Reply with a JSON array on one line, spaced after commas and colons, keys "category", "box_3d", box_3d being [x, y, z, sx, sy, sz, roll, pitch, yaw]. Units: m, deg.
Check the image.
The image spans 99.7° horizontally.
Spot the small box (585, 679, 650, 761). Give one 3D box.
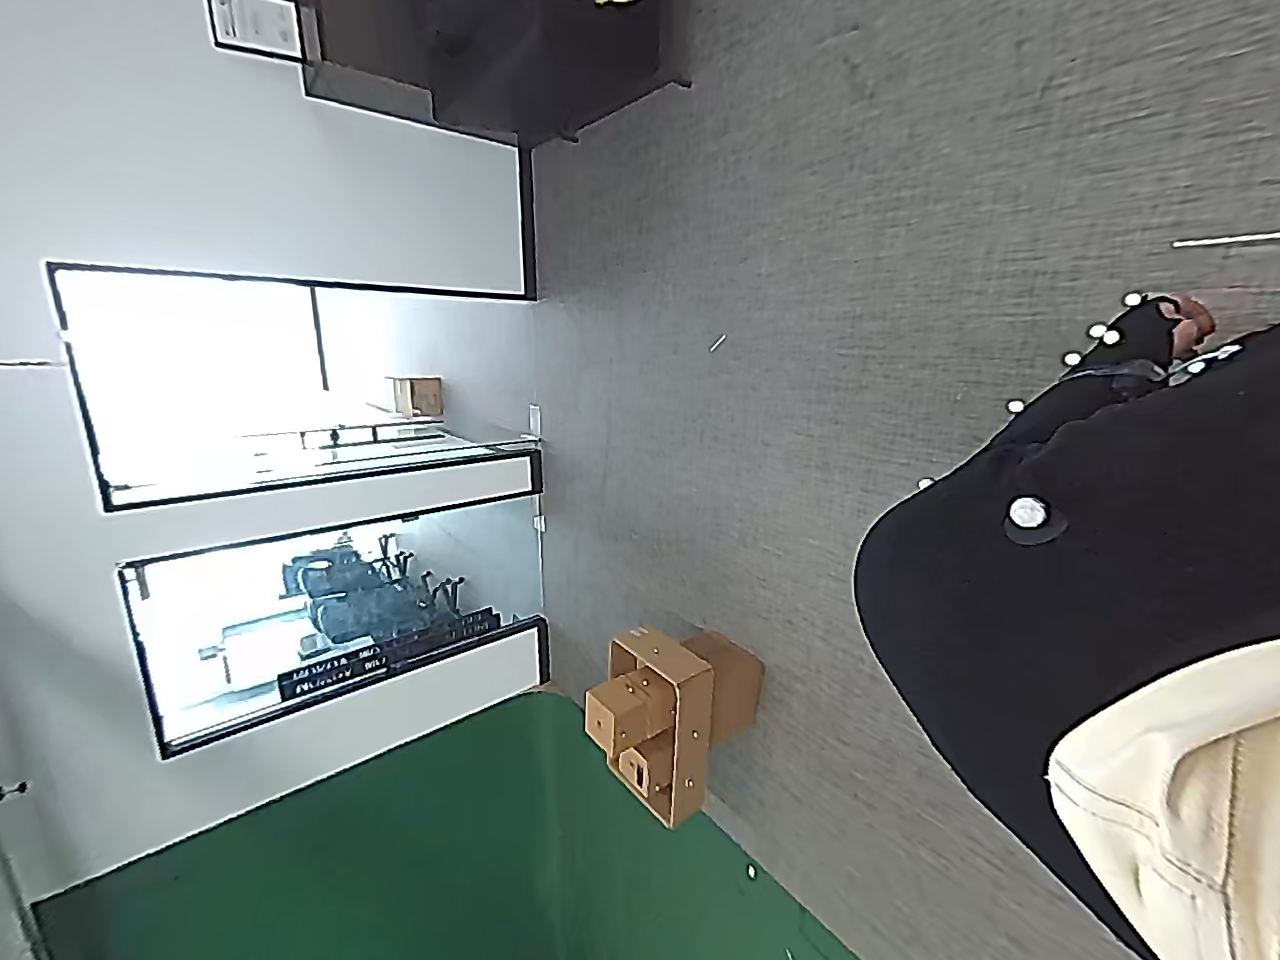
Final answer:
[{"category": "small box", "box_3d": [-0.079, 0.851, 1.932, 0.168, 0.176, 0.179, 20, 112, 46]}]
